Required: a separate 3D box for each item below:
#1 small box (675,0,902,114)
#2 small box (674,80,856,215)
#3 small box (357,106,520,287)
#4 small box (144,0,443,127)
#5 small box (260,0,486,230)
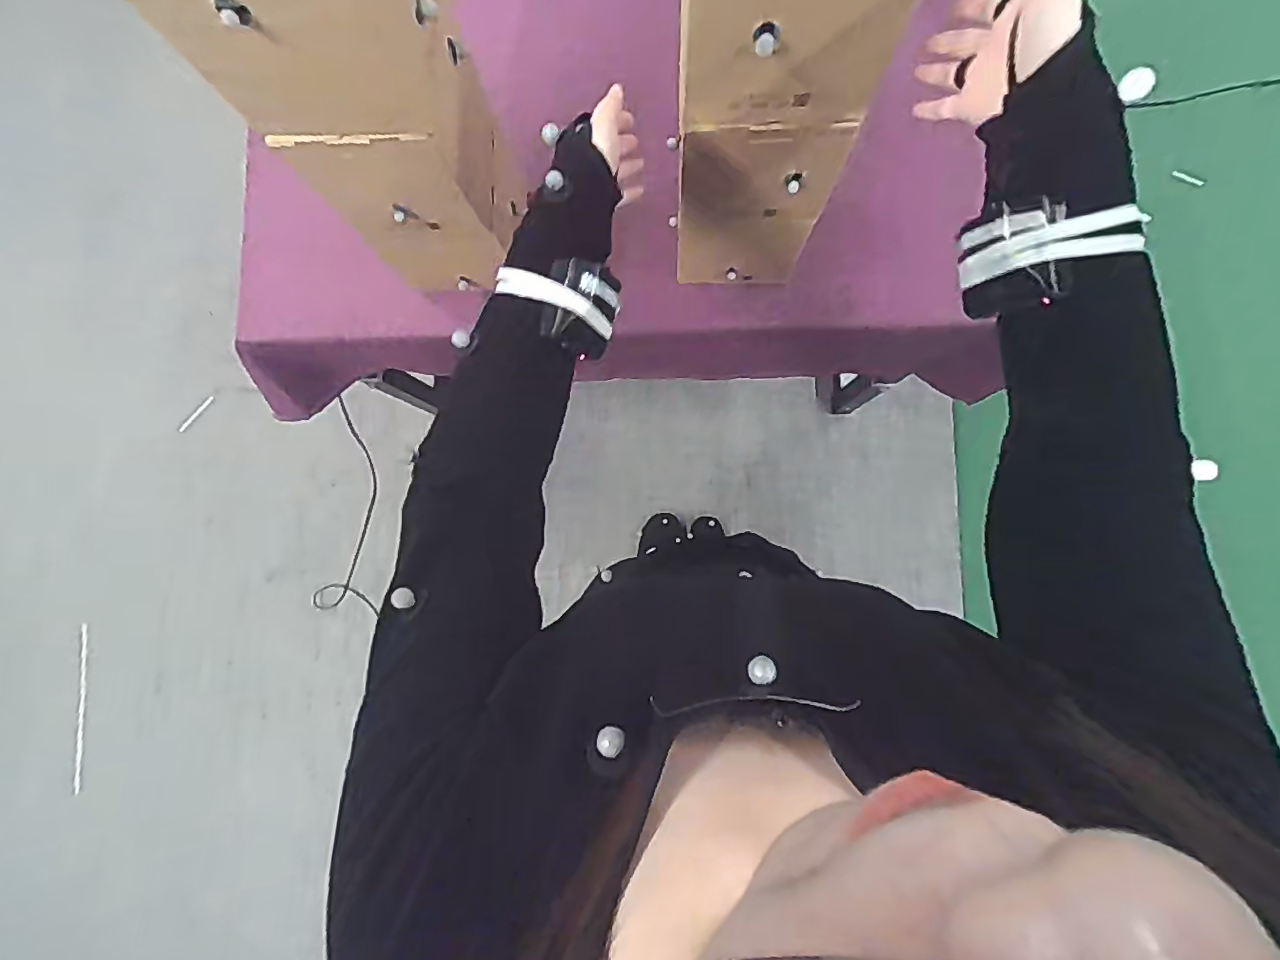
[{"bbox_3d":[0.113,-0.421,0.422,0.168,0.176,0.179,0,85,2],"label":"small box"},{"bbox_3d":[0.123,-0.408,0.584,0.168,0.176,0.179,0,86,2],"label":"small box"},{"bbox_3d":[-0.271,-0.389,0.766,0.179,0.176,0.168,-2,85,2],"label":"small box"},{"bbox_3d":[-0.281,-0.420,0.438,0.179,0.176,0.168,1,86,2],"label":"small box"},{"bbox_3d":[-0.279,-0.406,0.602,0.168,0.176,0.179,0,86,3],"label":"small box"}]
